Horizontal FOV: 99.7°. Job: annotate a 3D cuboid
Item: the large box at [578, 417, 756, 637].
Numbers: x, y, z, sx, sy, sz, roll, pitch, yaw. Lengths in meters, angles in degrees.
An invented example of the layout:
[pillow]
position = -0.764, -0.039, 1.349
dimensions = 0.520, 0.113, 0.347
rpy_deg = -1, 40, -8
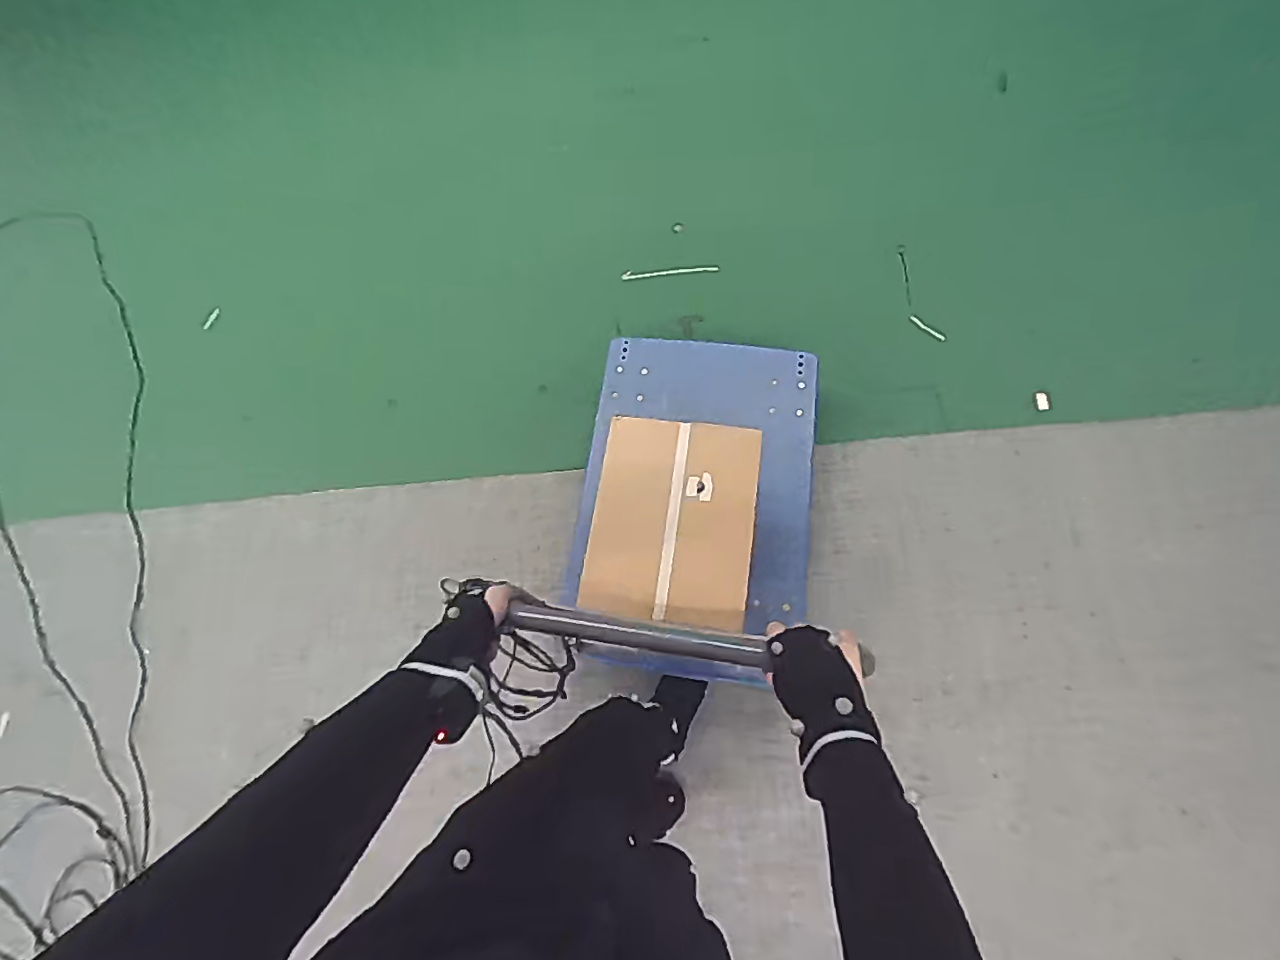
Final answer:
[large box]
position = 0.072, 0.118, 1.195
dimensions = 0.320, 0.320, 0.408
rpy_deg = 7, 73, 7
